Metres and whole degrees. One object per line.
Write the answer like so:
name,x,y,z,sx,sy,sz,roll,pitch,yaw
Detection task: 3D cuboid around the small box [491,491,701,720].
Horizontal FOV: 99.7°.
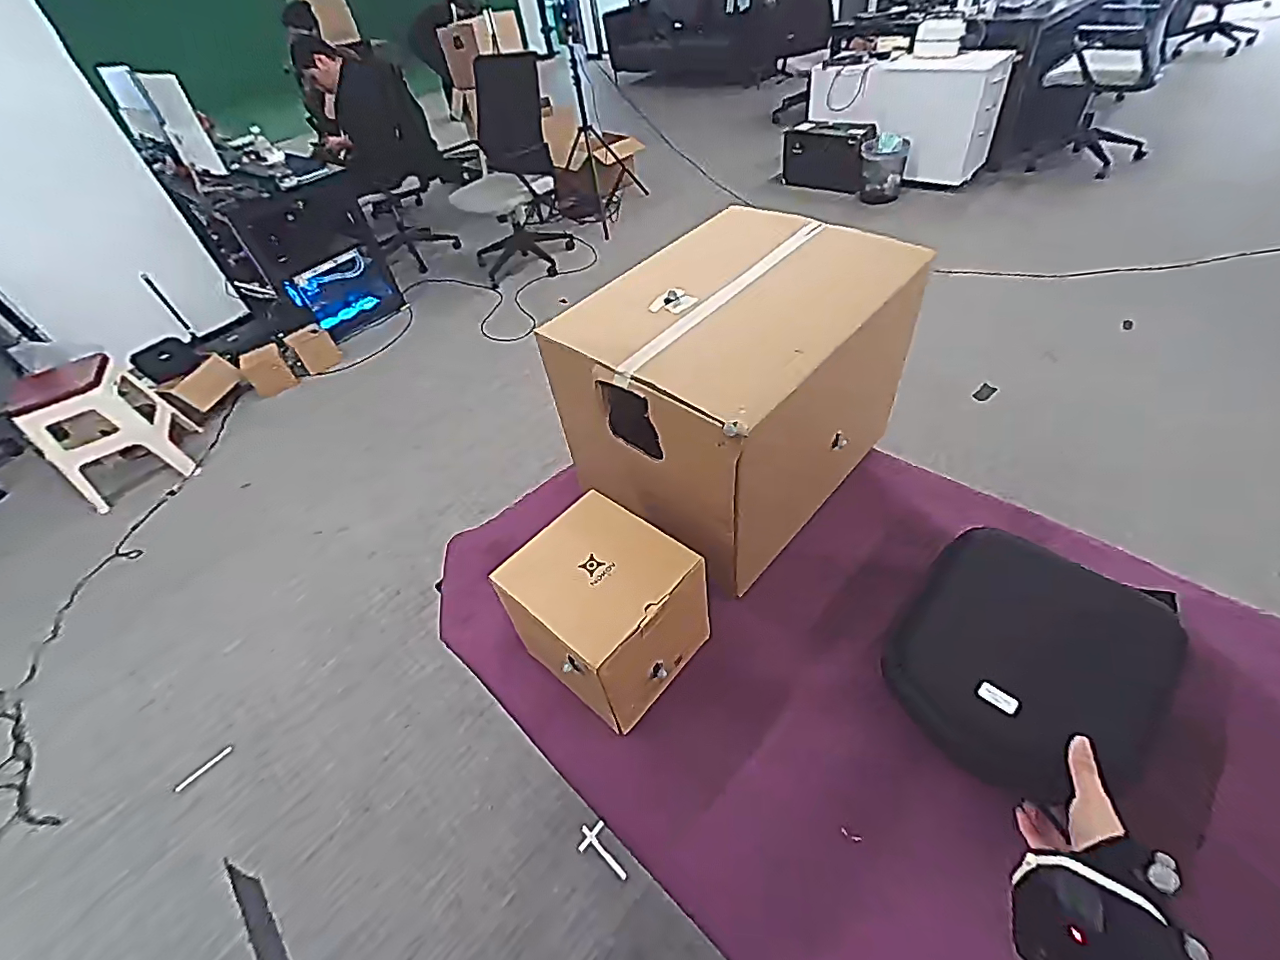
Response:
small box,-0.043,0.150,0.647,0.179,0.176,0.168,29,56,31

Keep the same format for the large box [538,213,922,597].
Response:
large box,0.133,-0.122,0.777,0.320,0.320,0.408,31,61,32
